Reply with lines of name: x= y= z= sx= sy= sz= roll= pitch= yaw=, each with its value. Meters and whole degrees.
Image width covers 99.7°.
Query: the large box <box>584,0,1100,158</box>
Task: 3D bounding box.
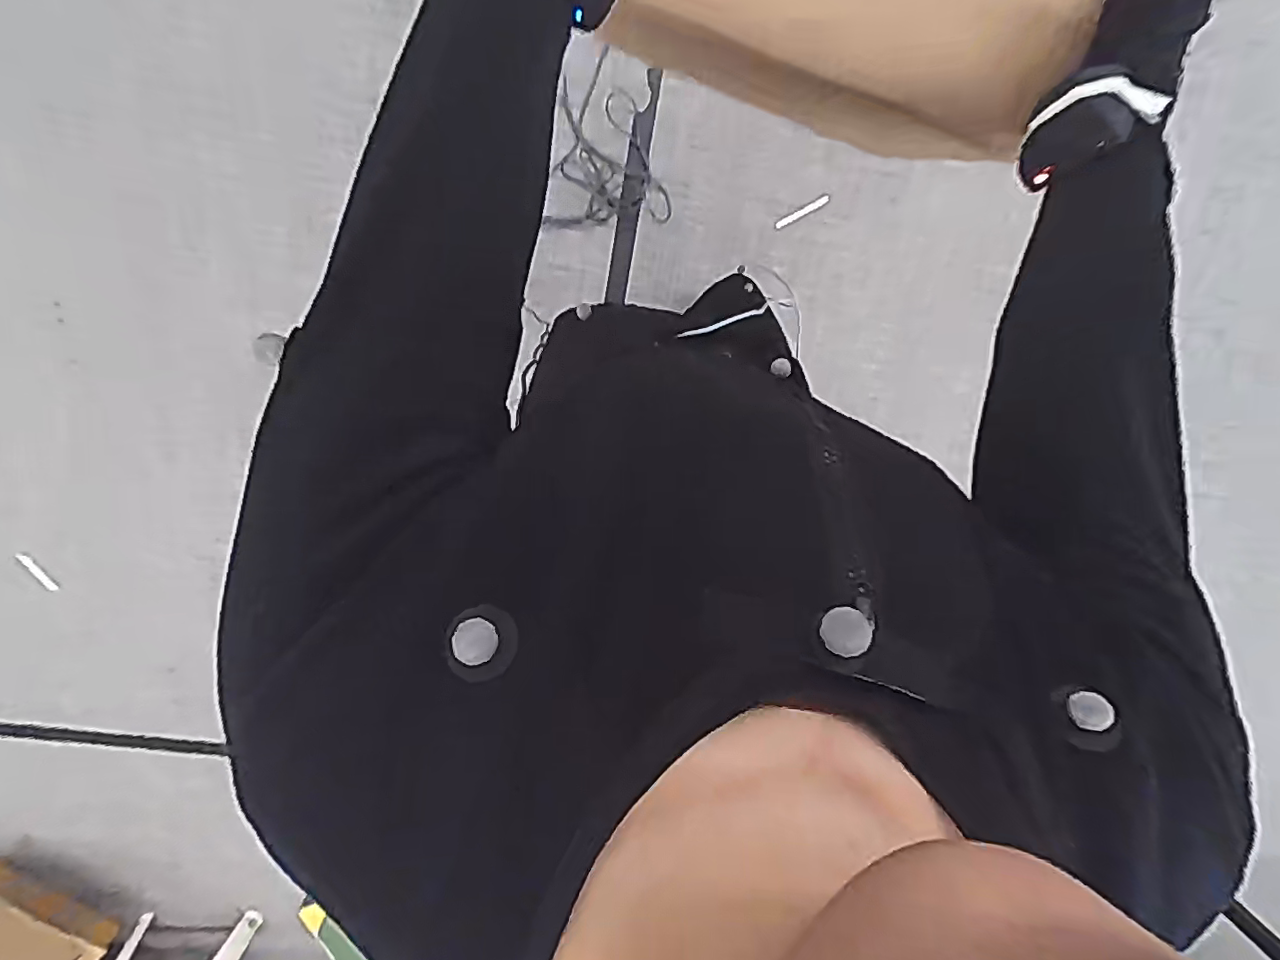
large box: x=0.177 y=-0.531 z=0.500 sx=0.408 sy=0.320 sz=0.320 roll=14 pitch=120 yaw=-10
